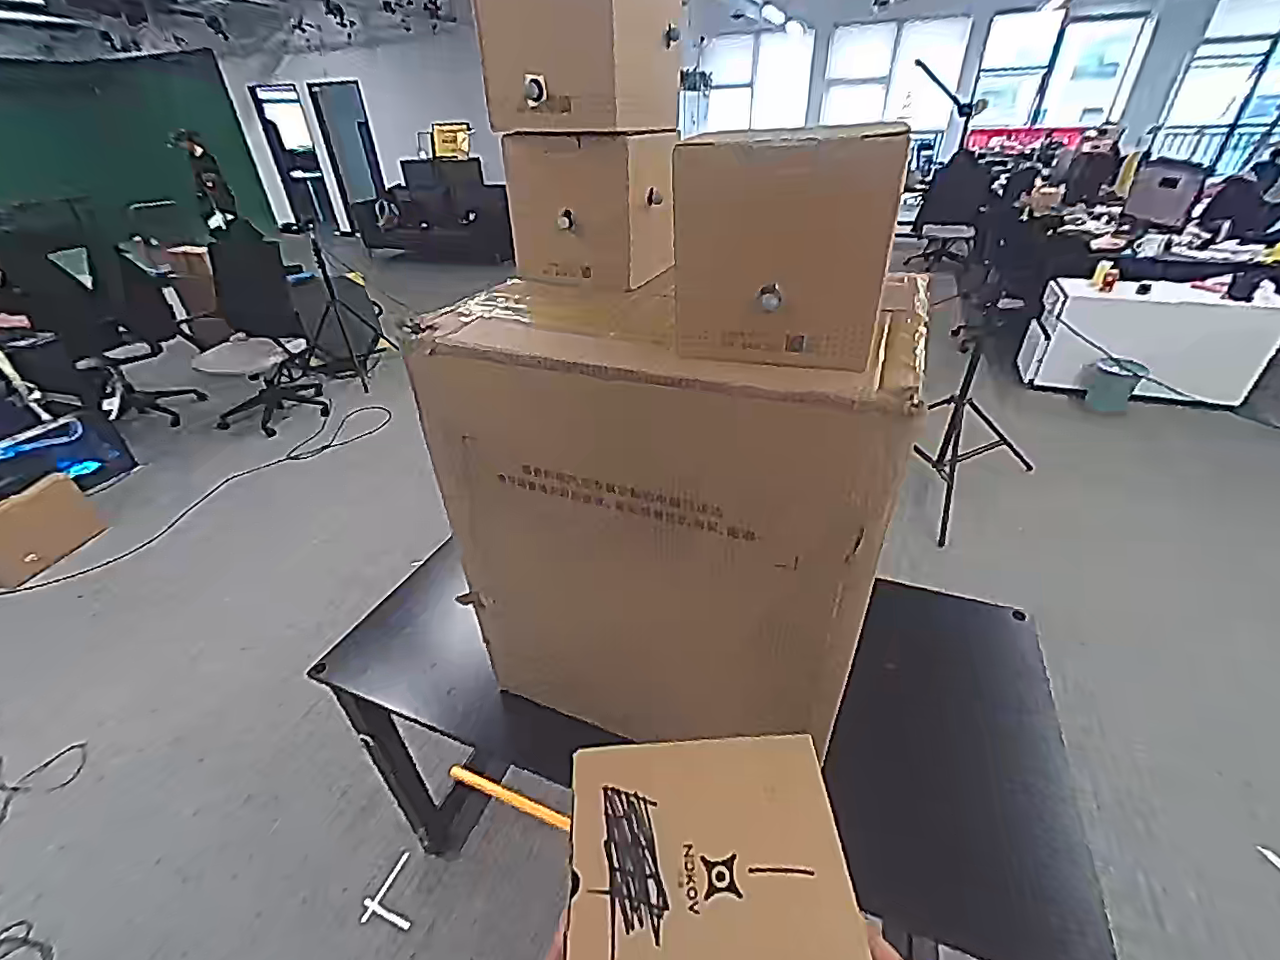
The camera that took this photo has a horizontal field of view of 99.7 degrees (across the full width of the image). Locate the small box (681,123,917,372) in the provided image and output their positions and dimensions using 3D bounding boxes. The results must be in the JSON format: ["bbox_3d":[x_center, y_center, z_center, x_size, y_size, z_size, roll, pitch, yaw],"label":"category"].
[{"bbox_3d":[0.138,-0.214,0.485,0.168,0.176,0.179,9,37,19],"label":"small box"}]

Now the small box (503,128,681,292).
[{"bbox_3d":[-0.050,-0.355,0.706,0.168,0.176,0.179,13,37,19],"label":"small box"}]

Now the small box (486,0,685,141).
[{"bbox_3d":[-0.056,-0.482,0.602,0.168,0.176,0.179,13,37,21],"label":"small box"}]

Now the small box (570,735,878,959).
[{"bbox_3d":[0.051,0.306,0.387,0.179,0.176,0.168,-3,40,1],"label":"small box"}]
